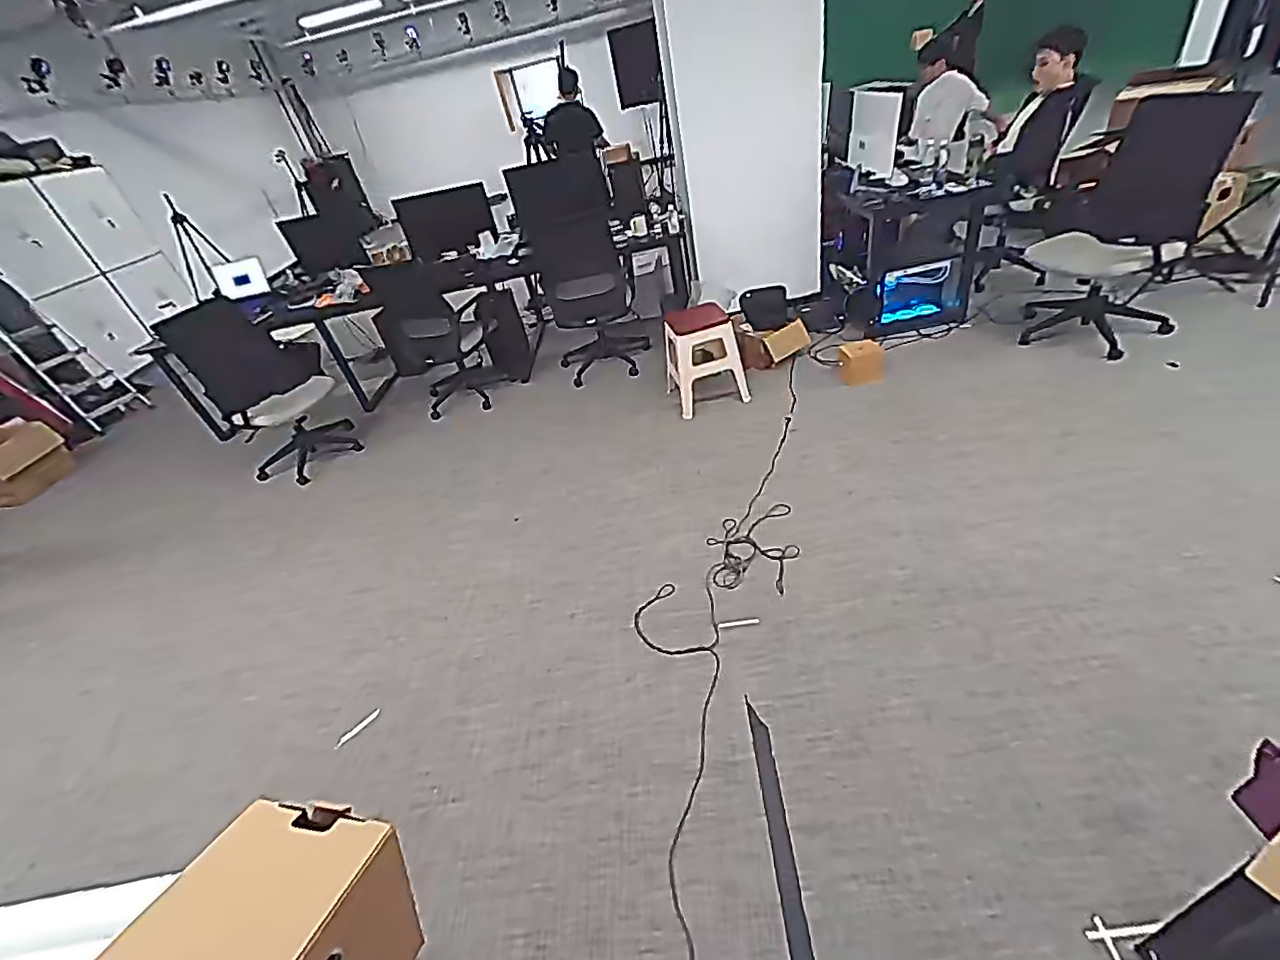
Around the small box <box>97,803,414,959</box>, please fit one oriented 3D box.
[{"bbox_3d":[-0.330,0.439,0.485,0.168,0.176,0.179,1,17,13],"label":"small box"}]
